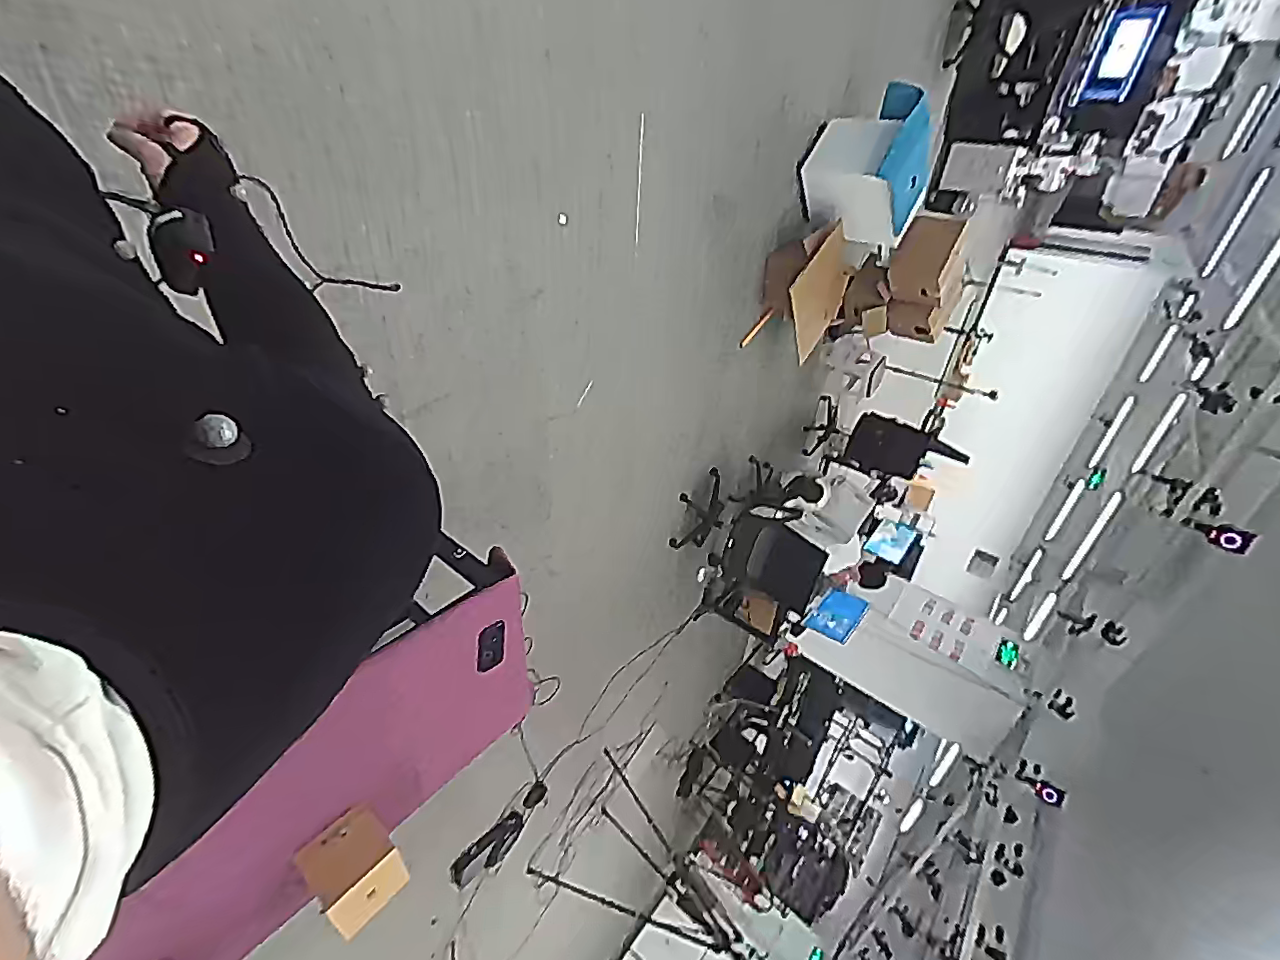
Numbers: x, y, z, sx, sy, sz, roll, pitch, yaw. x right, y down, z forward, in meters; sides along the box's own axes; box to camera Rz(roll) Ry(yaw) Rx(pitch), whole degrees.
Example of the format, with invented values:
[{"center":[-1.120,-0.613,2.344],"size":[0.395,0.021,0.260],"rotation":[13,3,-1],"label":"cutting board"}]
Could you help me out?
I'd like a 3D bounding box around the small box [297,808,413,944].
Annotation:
[{"center":[-0.674,0.930,1.285],"size":[0.168,0.176,0.179],"rotation":[-33,137,-42],"label":"small box"}]
